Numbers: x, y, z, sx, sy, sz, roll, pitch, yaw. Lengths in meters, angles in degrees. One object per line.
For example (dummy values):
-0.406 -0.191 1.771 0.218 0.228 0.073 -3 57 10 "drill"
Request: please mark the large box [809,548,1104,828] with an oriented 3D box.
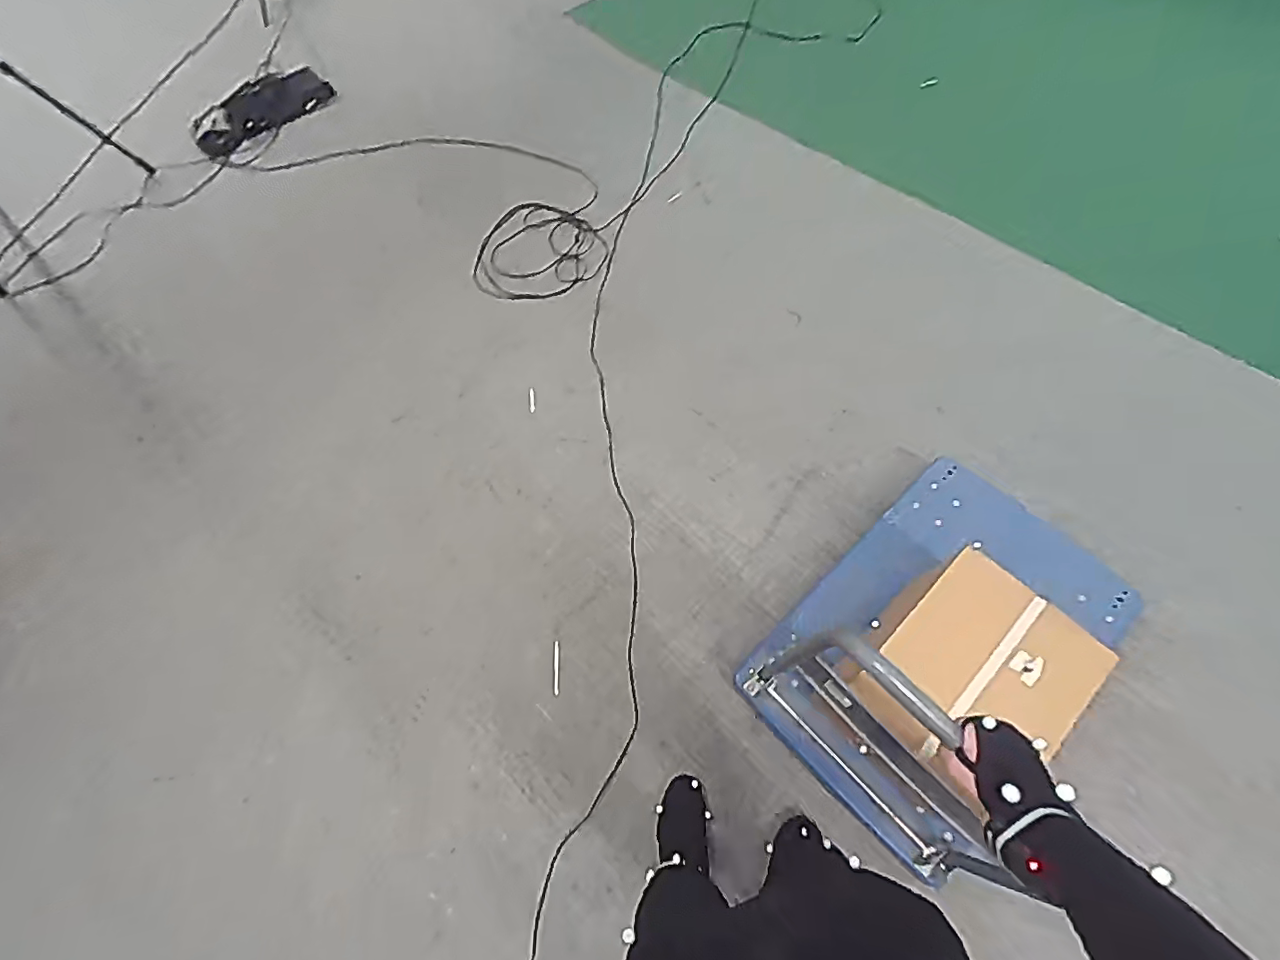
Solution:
0.626 0.425 1.135 0.408 0.320 0.320 -42 70 -15 "large box"
